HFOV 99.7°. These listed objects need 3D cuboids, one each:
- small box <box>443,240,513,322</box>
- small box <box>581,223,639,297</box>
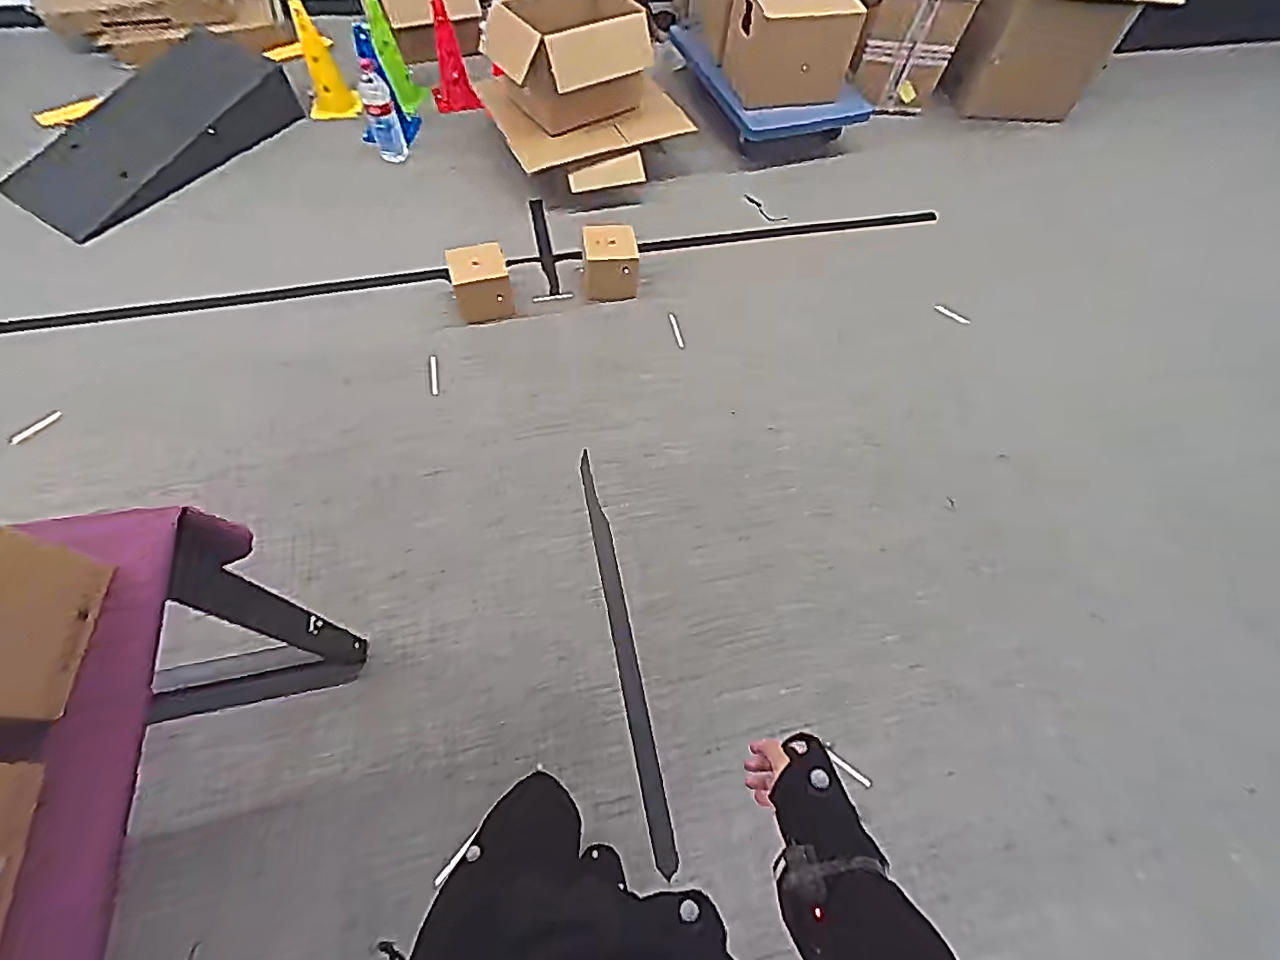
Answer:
[{"bbox_3d":[-0.520,-0.645,1.759,0.179,0.176,0.168,-16,64,-11],"label":"small box"},{"bbox_3d":[-0.107,-0.746,1.840,0.179,0.176,0.168,-6,63,-8],"label":"small box"}]
